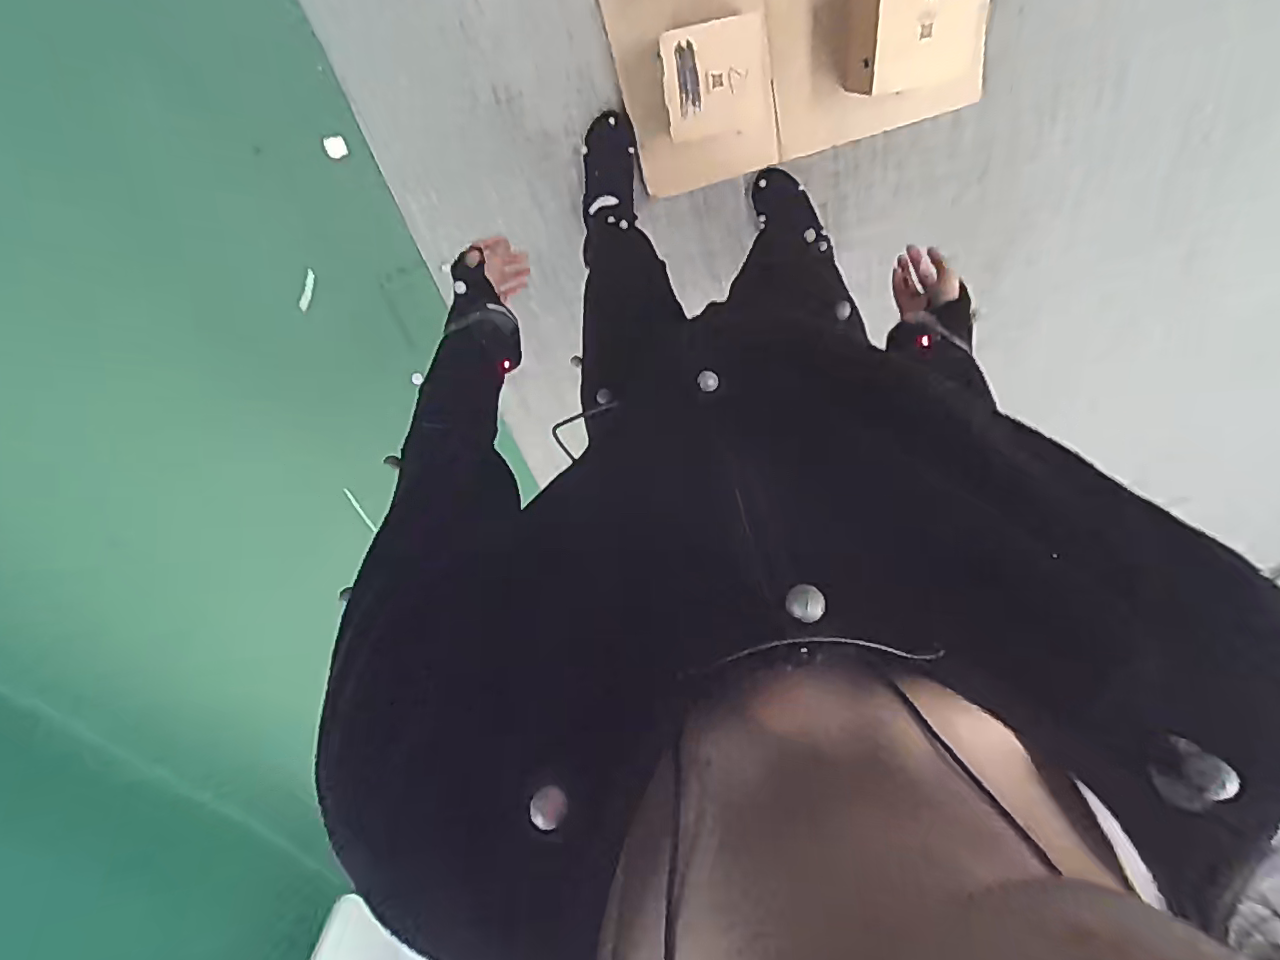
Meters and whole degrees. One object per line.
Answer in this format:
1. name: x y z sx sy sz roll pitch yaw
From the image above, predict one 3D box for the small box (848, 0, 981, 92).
1. small box: 0.477 -0.810 0.957 0.168 0.176 0.179 -6 127 6
